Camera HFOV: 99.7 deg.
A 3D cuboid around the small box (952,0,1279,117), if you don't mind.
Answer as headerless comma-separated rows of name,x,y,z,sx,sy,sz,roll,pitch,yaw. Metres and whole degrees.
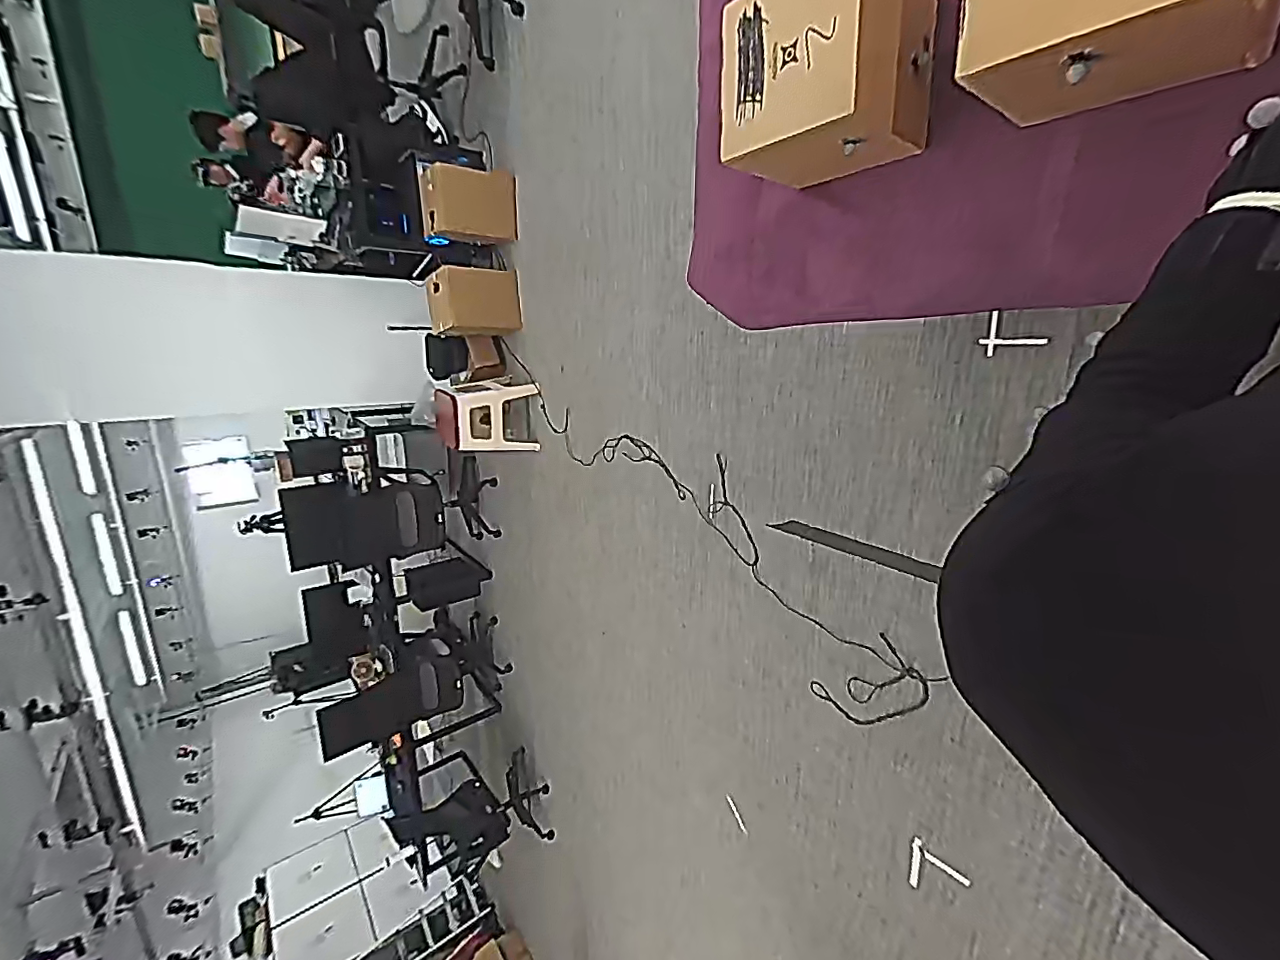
small box,0.382,-0.417,0.423,0.179,0.176,0.168,18,113,51
